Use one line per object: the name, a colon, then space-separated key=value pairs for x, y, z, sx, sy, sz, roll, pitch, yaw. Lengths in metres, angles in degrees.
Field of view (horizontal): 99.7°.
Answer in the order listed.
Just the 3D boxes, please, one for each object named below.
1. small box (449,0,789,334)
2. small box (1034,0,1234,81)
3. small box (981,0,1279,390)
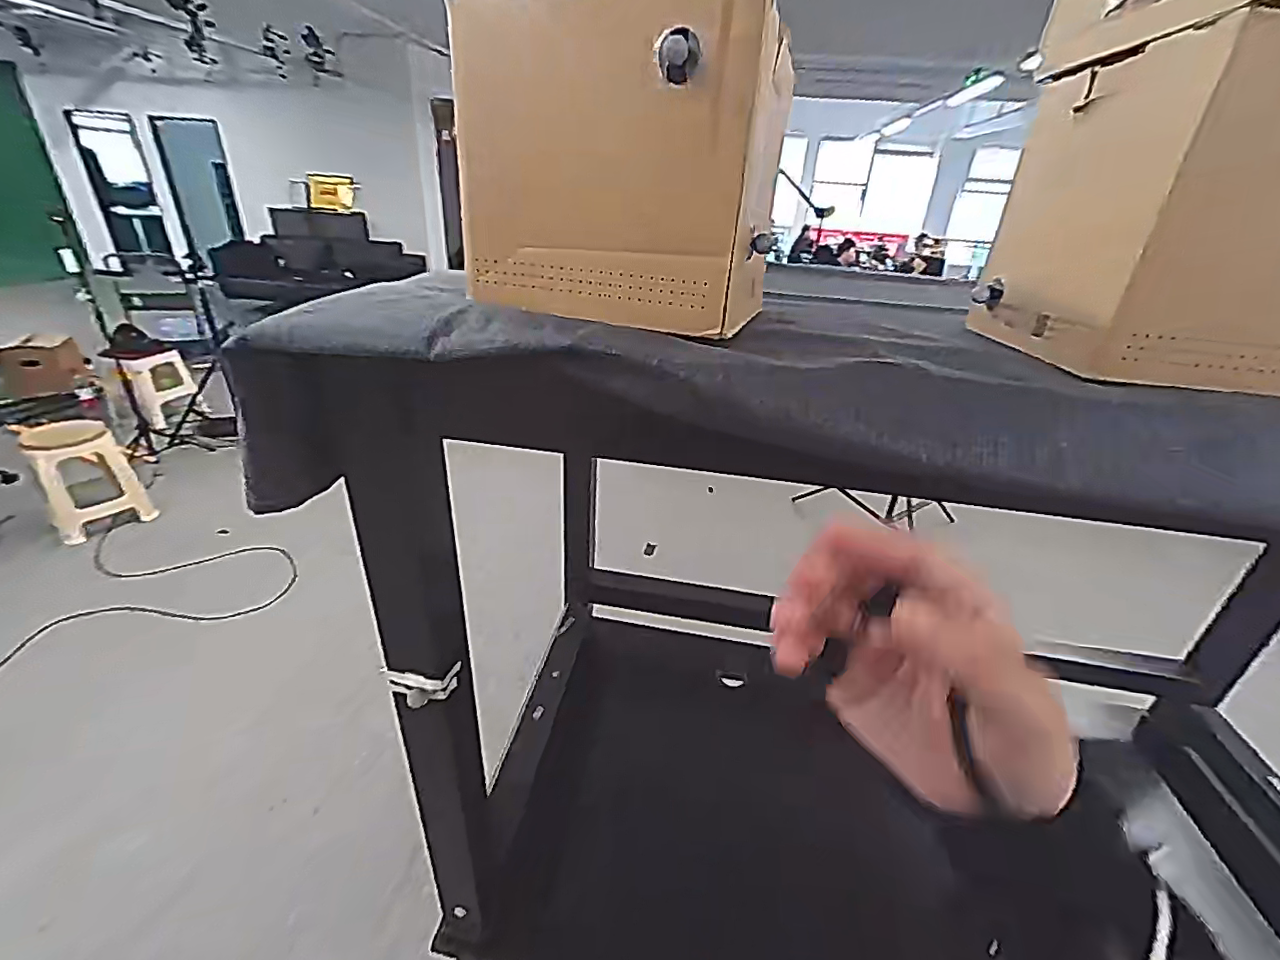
small box: x=-0.005 y=-0.201 z=0.373 sx=0.179 sy=0.176 sz=0.168 roll=12 pitch=26 yaw=14
small box: x=0.354 y=-0.307 z=0.270 sx=0.179 sy=0.176 sz=0.168 roll=3 pitch=25 yaw=0
small box: x=0.345 y=-0.158 z=0.334 sx=0.179 sy=0.176 sz=0.168 roll=6 pitch=27 yaw=4
